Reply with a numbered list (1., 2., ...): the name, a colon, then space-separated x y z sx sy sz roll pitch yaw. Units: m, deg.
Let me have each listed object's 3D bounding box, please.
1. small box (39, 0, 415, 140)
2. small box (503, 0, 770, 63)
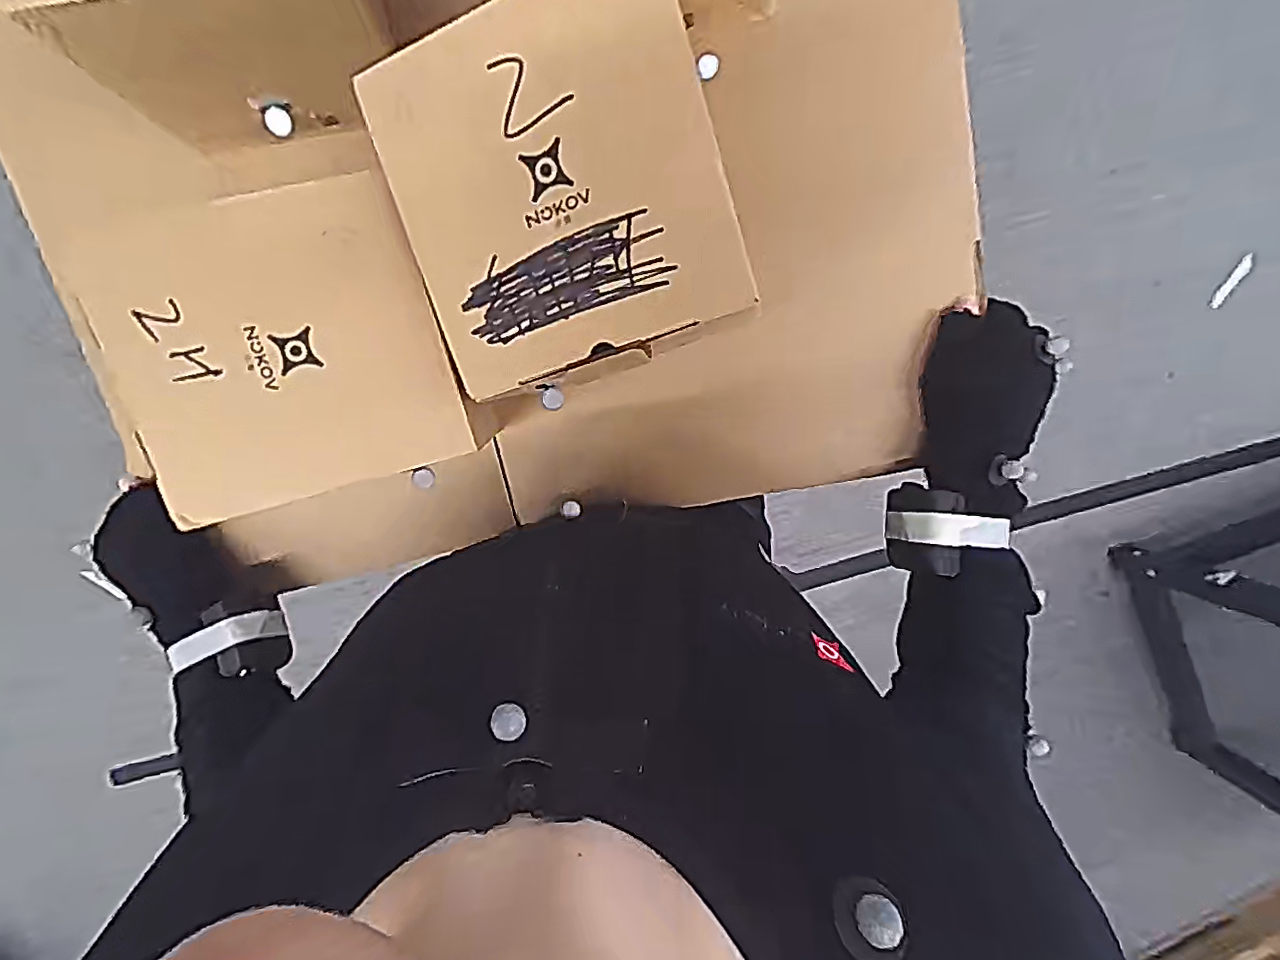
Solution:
1. small box: -0.259 -0.348 0.332 0.168 0.176 0.179 -14 102 -8
2. small box: -0.014 -0.373 0.297 0.168 0.176 0.179 -7 101 13
